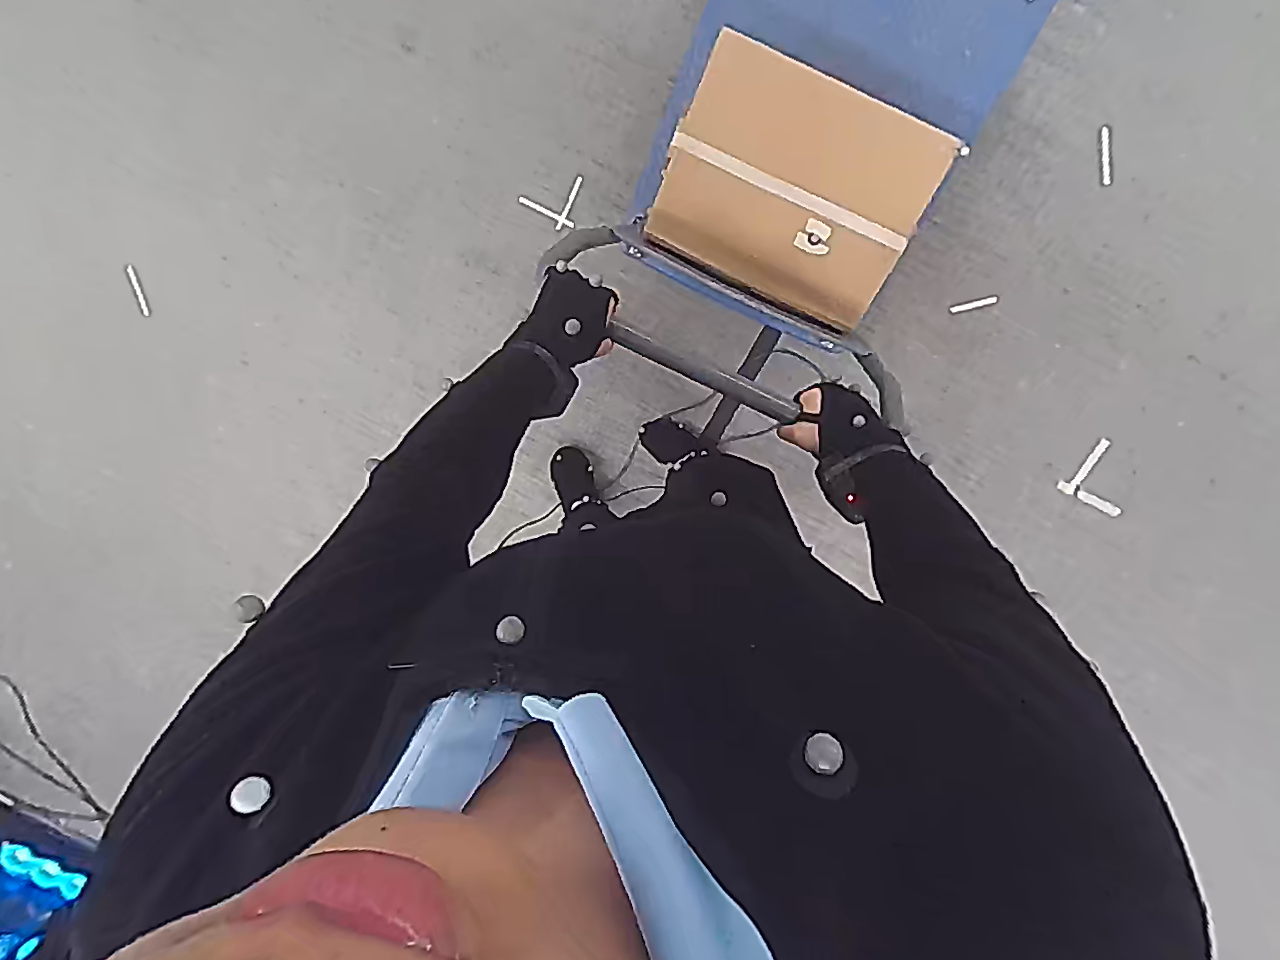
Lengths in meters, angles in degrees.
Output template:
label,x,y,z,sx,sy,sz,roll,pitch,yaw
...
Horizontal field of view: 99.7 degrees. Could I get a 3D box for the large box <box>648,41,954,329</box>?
label,x,y,z,sx,sy,sz,roll,pitch,yaw
large box,0.268,-0.525,1.022,0.408,0.320,0.320,24,115,-1
